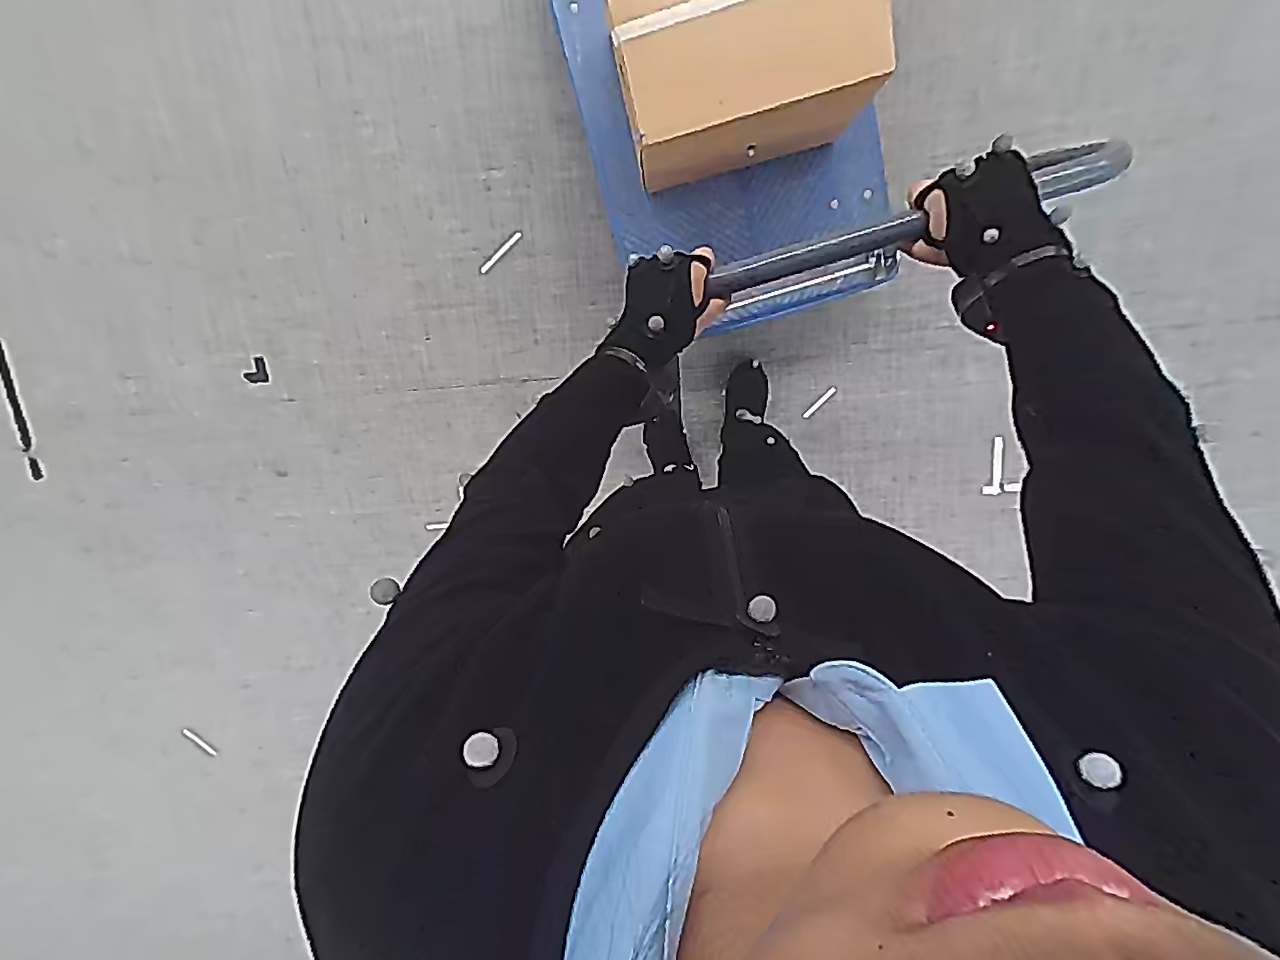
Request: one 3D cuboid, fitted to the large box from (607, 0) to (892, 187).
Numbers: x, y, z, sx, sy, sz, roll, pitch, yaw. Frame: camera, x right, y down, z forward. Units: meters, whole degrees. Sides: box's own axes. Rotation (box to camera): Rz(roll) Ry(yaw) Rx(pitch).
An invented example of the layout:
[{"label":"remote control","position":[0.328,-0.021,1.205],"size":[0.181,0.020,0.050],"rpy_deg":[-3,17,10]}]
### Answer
[{"label":"large box","position":[0.170,-0.775,0.963],"size":[0.408,0.320,0.320],"rpy_deg":[-13,103,7]}]
